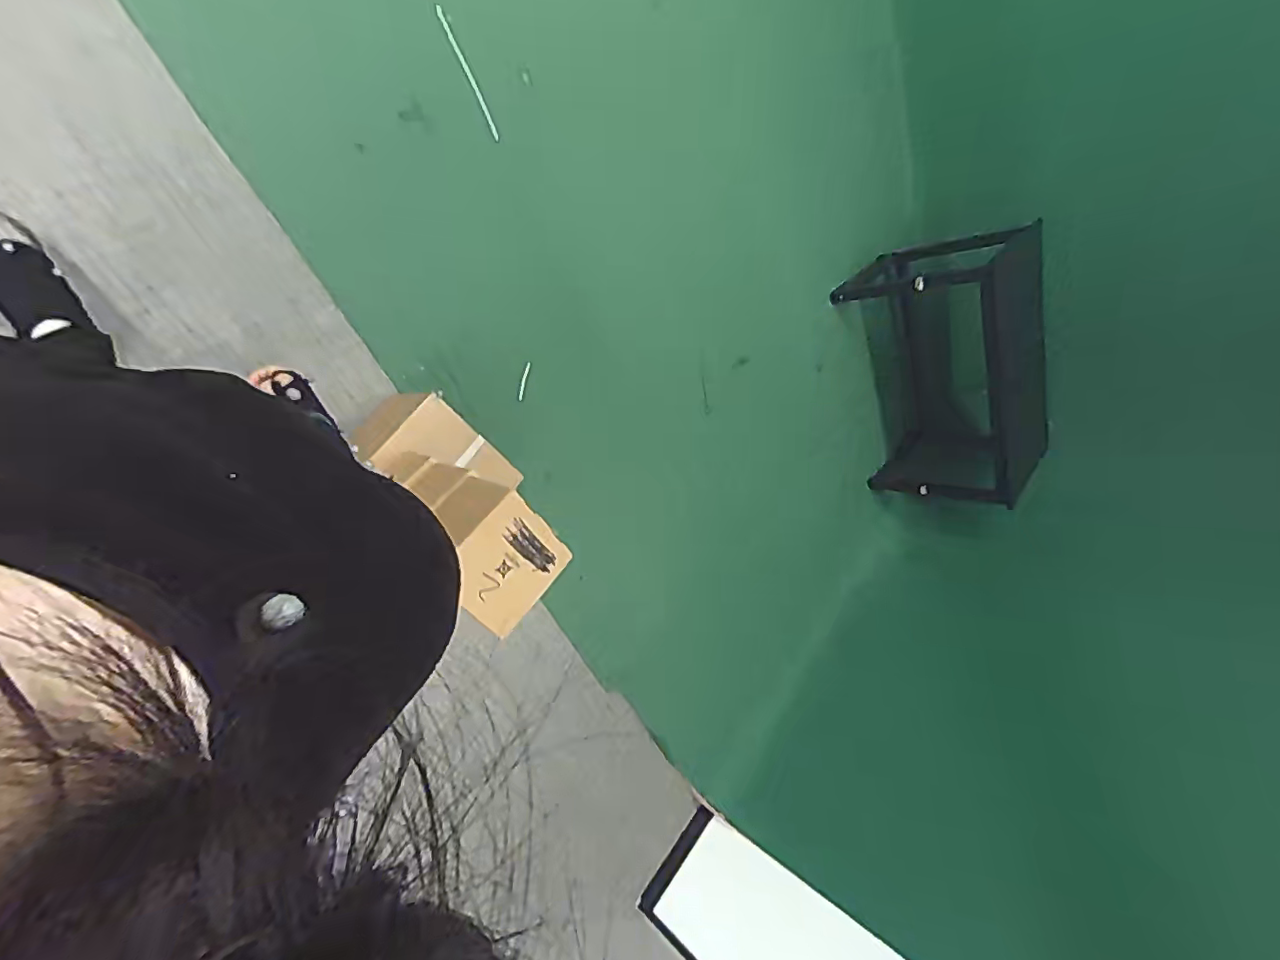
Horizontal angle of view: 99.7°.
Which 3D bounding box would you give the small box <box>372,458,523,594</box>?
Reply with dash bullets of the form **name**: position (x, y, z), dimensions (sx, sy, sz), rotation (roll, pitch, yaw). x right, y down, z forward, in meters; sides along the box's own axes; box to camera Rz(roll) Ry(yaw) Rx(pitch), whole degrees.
- **small box**: position (-0.359, 0.075, 1.005), dimensions (0.179, 0.176, 0.168), rotation (-49, 125, -23)
